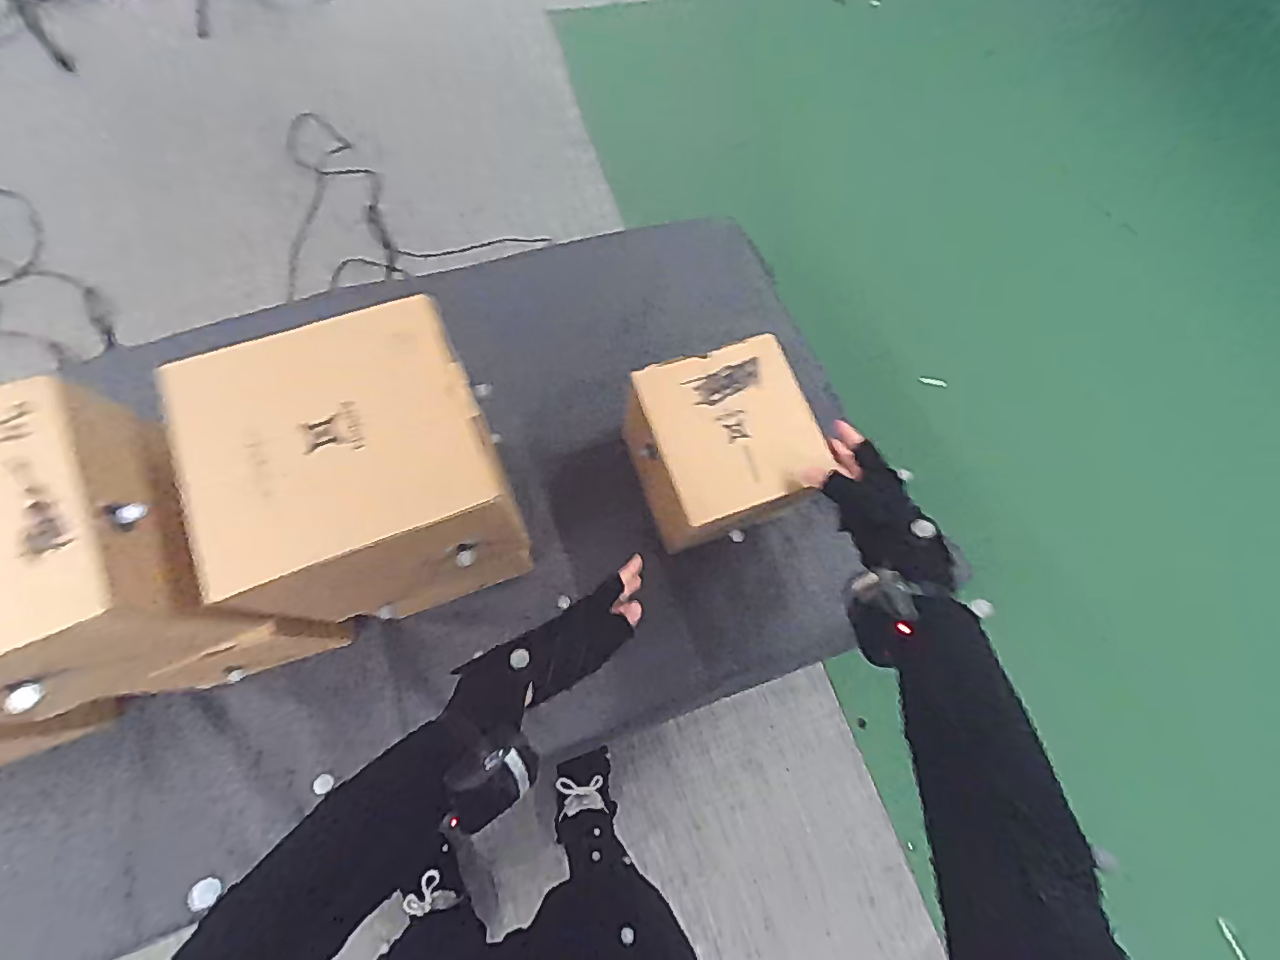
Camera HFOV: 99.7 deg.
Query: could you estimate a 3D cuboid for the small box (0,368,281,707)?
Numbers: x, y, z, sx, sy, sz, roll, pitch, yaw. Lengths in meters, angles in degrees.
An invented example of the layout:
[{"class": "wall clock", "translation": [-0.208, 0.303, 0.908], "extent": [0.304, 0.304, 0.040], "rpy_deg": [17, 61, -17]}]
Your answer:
[{"class": "small box", "translation": [-0.410, 0.054, 0.389], "extent": [0.179, 0.176, 0.168], "rpy_deg": [-24, 77, -11]}]
